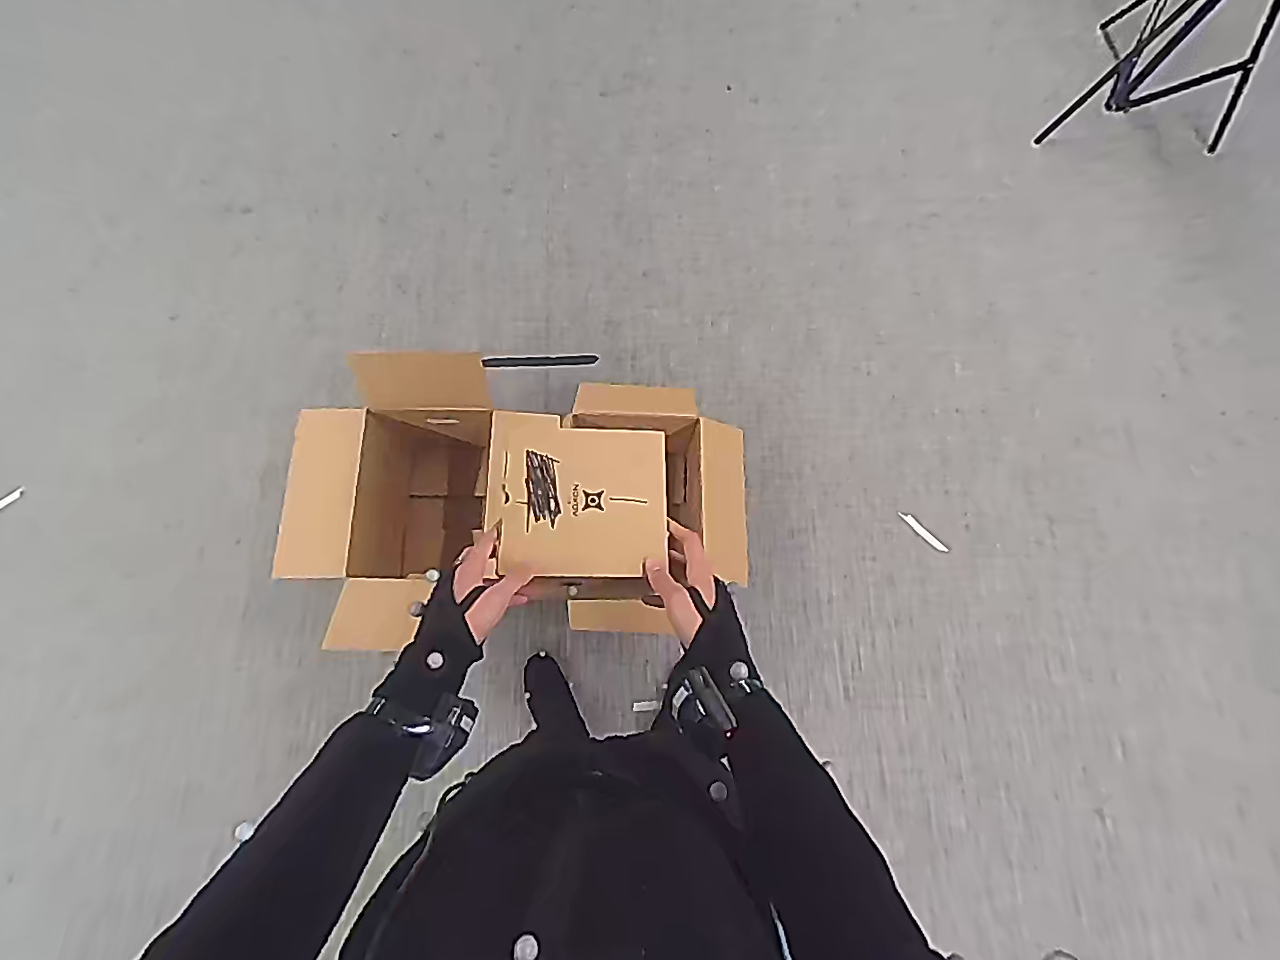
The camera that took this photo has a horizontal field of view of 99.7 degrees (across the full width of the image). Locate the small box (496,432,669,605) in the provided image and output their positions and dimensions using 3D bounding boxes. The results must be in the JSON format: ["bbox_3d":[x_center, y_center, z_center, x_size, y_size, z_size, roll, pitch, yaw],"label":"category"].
[{"bbox_3d":[-0.062,0.054,0.644,0.179,0.176,0.168,2,69,-5],"label":"small box"}]
